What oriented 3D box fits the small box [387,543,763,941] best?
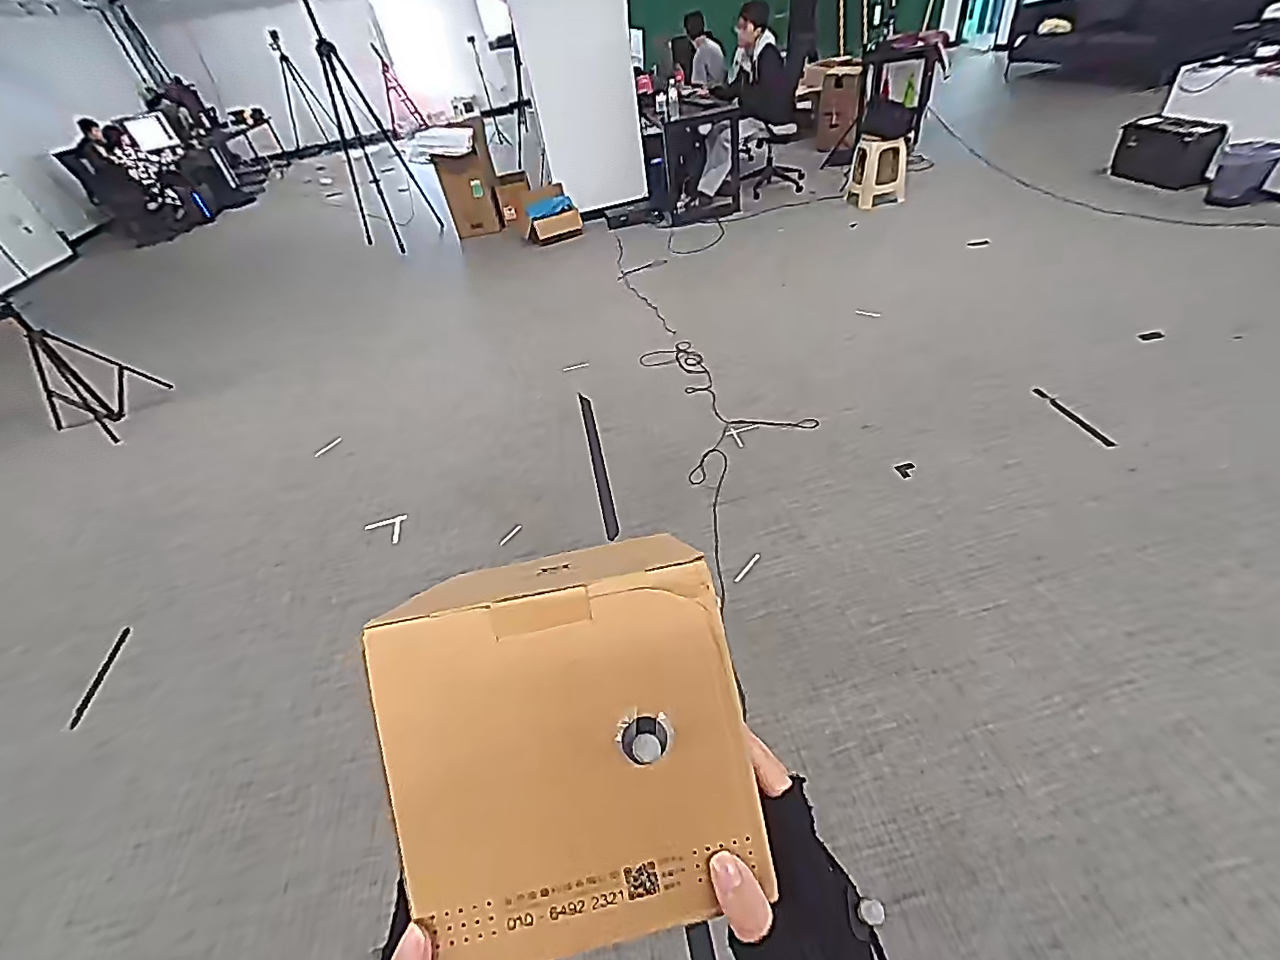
[{"bbox_3d":[-0.032,0.146,0.348,0.168,0.176,0.179,-11,-2,-3],"label":"small box"}]
